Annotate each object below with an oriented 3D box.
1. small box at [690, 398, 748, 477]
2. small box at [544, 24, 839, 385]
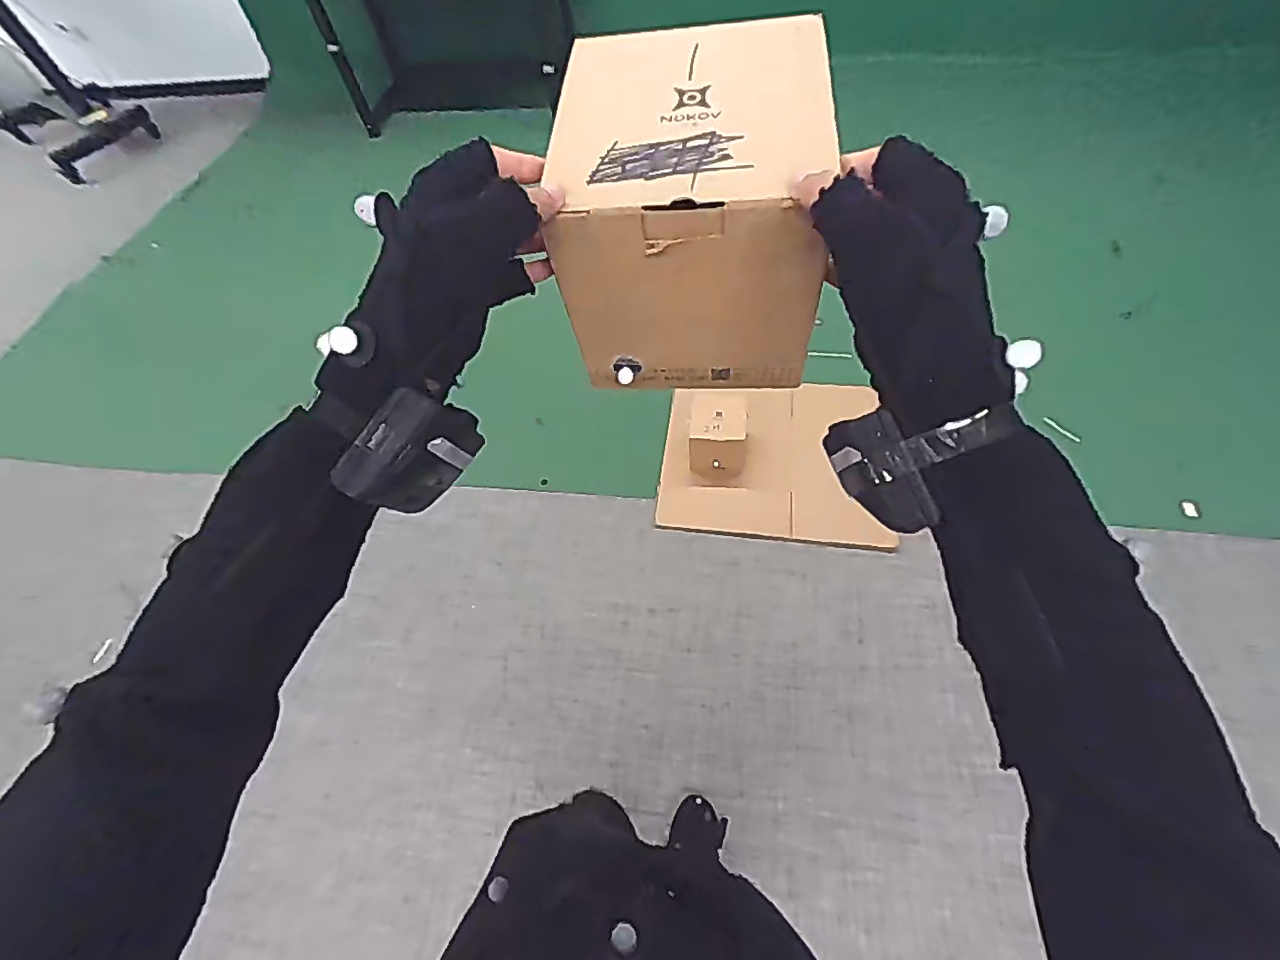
[{"bbox_3d":[0.243,-0.130,1.668,0.168,0.176,0.179,3,57,10],"label":"small box"},{"bbox_3d":[0.043,-0.184,0.399,0.168,0.176,0.179,1,63,9],"label":"small box"}]
